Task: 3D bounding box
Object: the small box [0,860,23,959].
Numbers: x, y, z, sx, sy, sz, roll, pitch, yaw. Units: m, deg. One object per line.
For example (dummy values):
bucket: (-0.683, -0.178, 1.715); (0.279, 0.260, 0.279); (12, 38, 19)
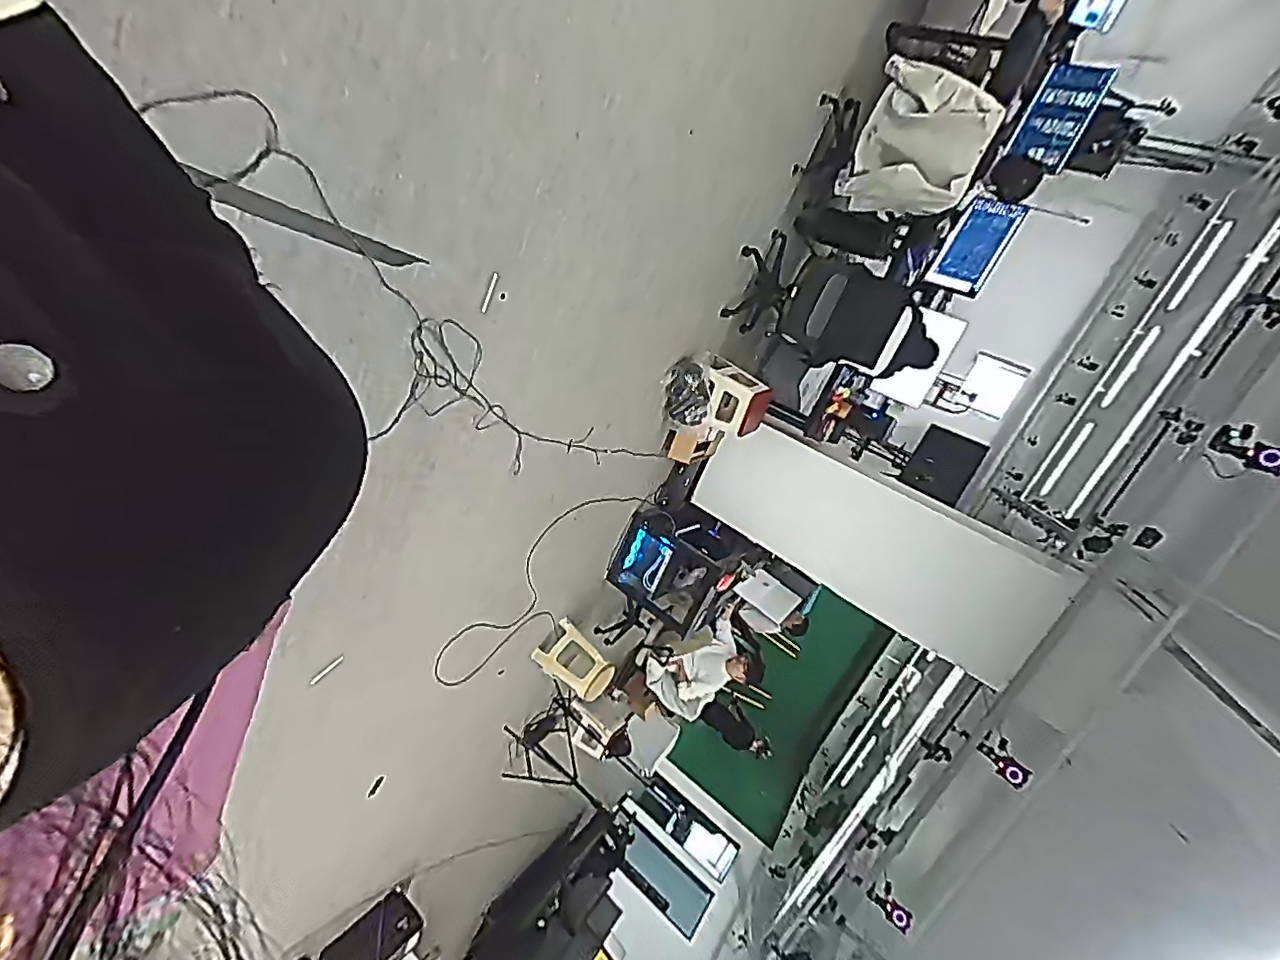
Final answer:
small box: (-0.882, 0.560, 0.637); (0.168, 0.176, 0.179); (-5, 123, -61)
